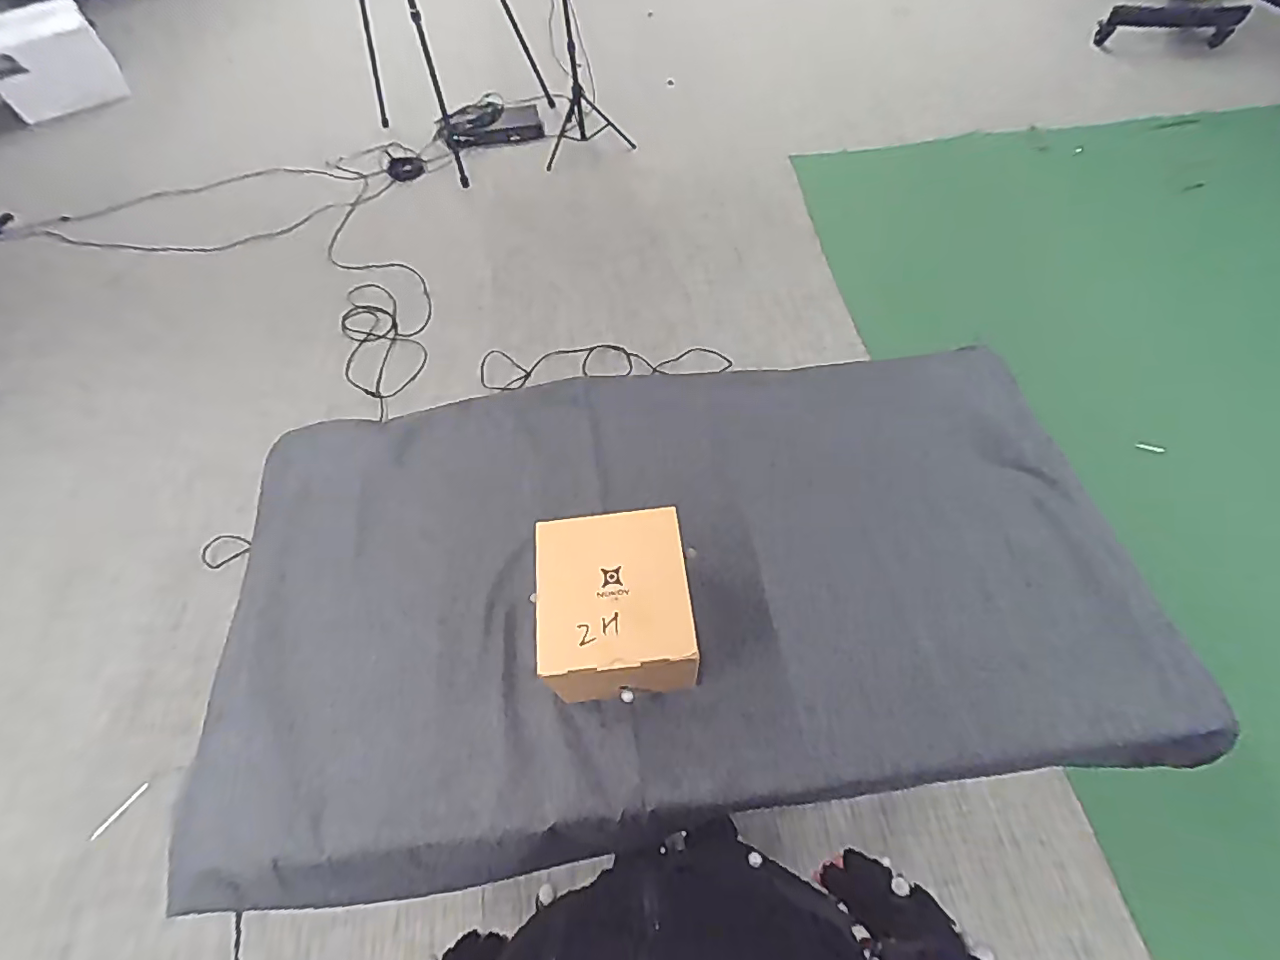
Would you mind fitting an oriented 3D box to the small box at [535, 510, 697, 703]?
[{"bbox_3d":[-0.028,0.157,0.653,0.168,0.176,0.179,-7,60,0],"label":"small box"}]
